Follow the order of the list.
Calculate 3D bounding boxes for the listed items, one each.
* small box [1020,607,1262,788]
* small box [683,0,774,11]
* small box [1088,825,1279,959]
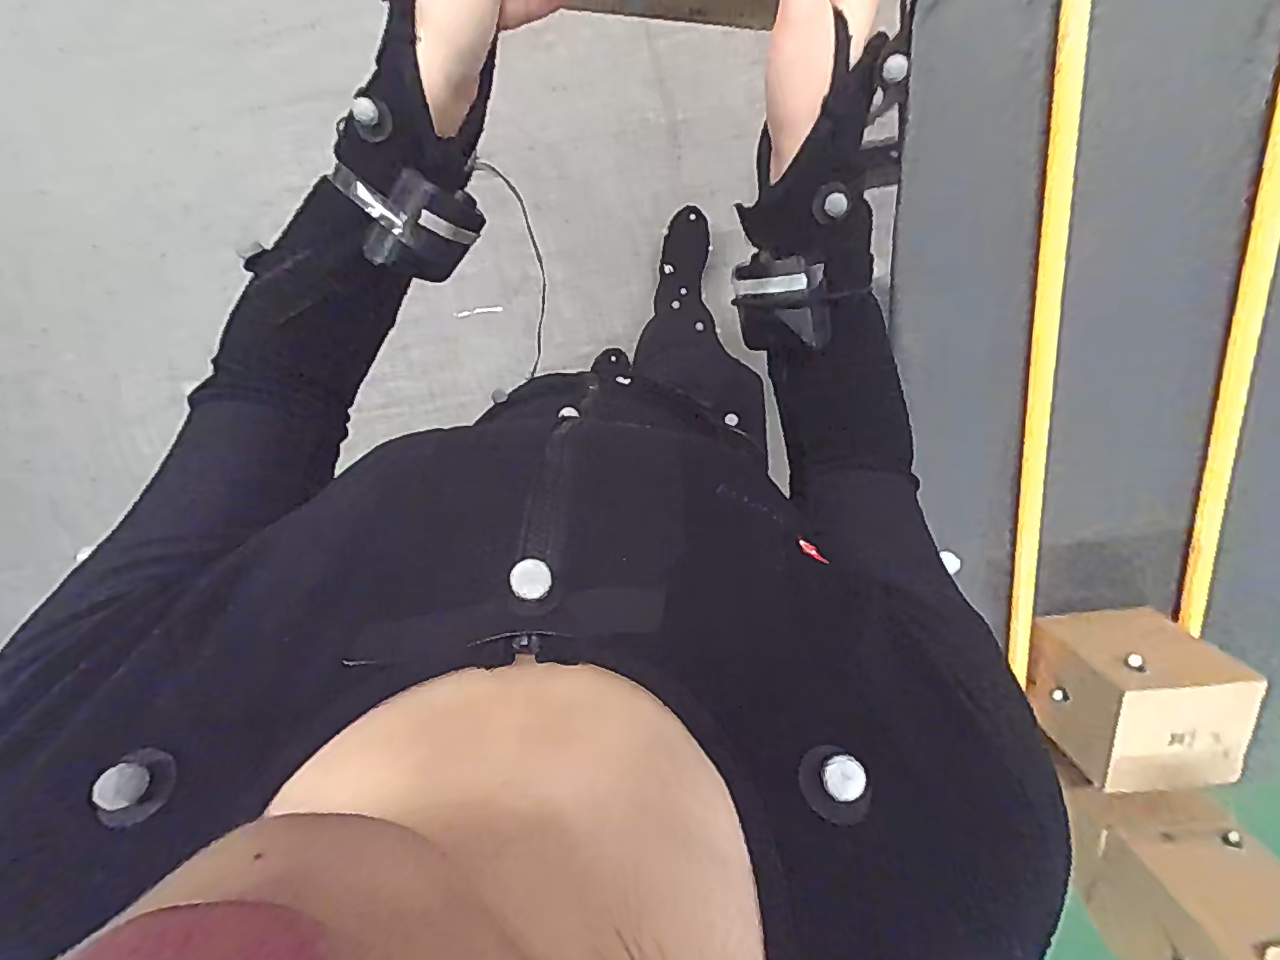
[{"bbox_3d":[0.680,0.296,0.762,0.179,0.176,0.168,-6,108,1],"label":"small box"},{"bbox_3d":[0.025,-0.397,0.300,0.168,0.176,0.179,6,118,0],"label":"small box"},{"bbox_3d":[0.714,0.562,0.675,0.168,0.176,0.179,-3,108,1],"label":"small box"}]
